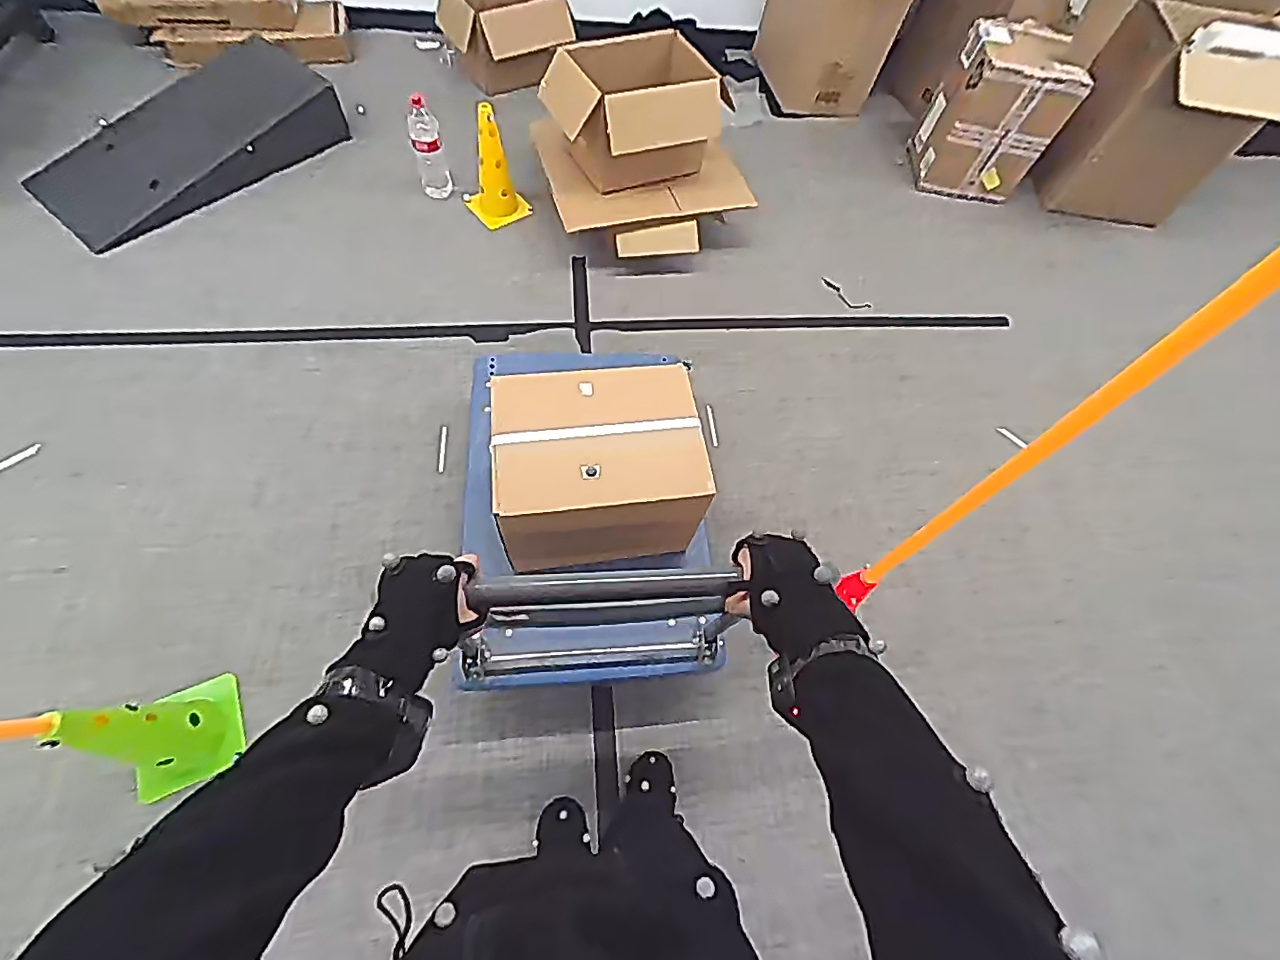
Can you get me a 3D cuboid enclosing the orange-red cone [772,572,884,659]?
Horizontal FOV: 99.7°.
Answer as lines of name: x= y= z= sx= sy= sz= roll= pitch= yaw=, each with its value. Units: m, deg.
orange-red cone: x=0.461 y=0.282 z=1.250 sx=0.199 sy=0.360 sz=0.198 roll=4 pitch=63 yaw=-5
